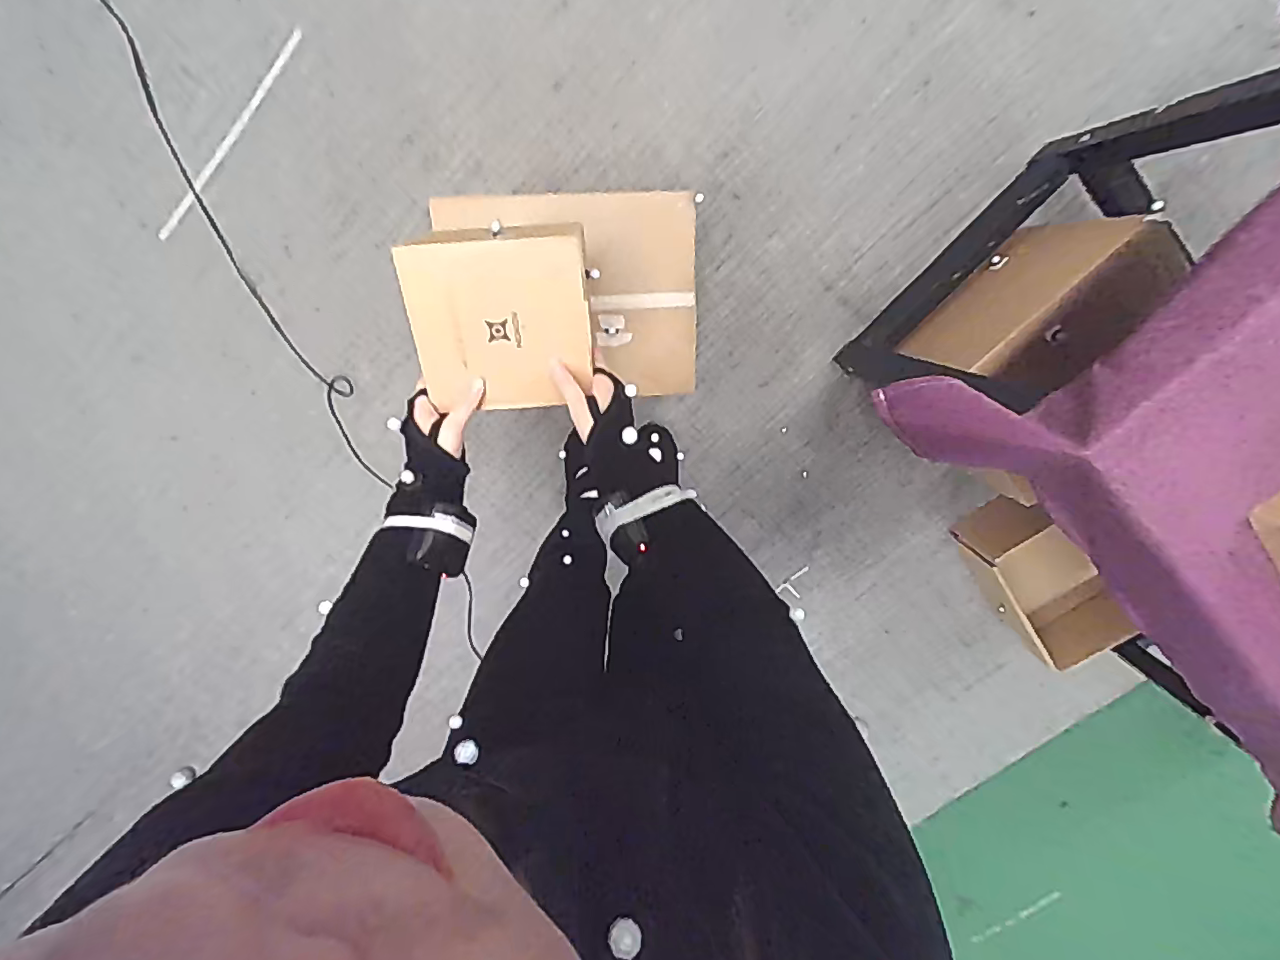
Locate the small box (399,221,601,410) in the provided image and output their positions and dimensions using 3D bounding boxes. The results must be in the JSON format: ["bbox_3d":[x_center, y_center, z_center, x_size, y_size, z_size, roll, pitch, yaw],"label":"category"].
[{"bbox_3d":[-0.136,-0.188,0.599,0.179,0.176,0.168,-3,120,-2],"label":"small box"}]

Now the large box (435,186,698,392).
[{"bbox_3d":[-0.114,-0.343,1.006,0.408,0.320,0.320,-3,111,-2],"label":"large box"}]
